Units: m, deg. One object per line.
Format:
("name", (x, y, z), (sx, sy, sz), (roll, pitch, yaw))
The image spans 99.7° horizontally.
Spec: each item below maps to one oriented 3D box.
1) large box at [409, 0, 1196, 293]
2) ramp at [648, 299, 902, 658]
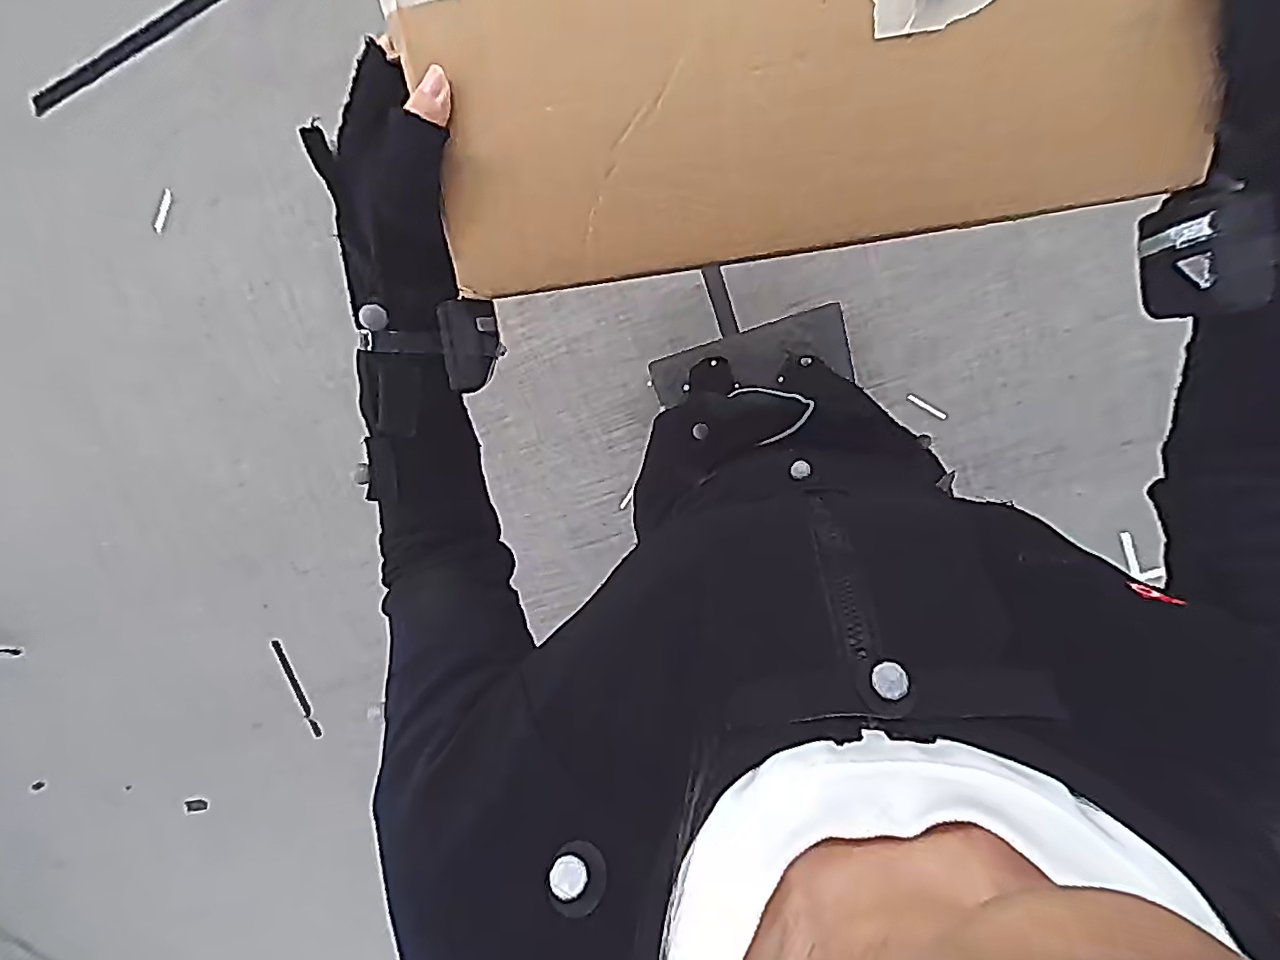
("large box", (0.078, -0.338, 0.406), (0.408, 0.320, 0.320), (-6, 111, 8))
("ramp", (0.408, 0.062, 1.513), (0.509, 0.206, 0.991), (-18, 100, 10))
